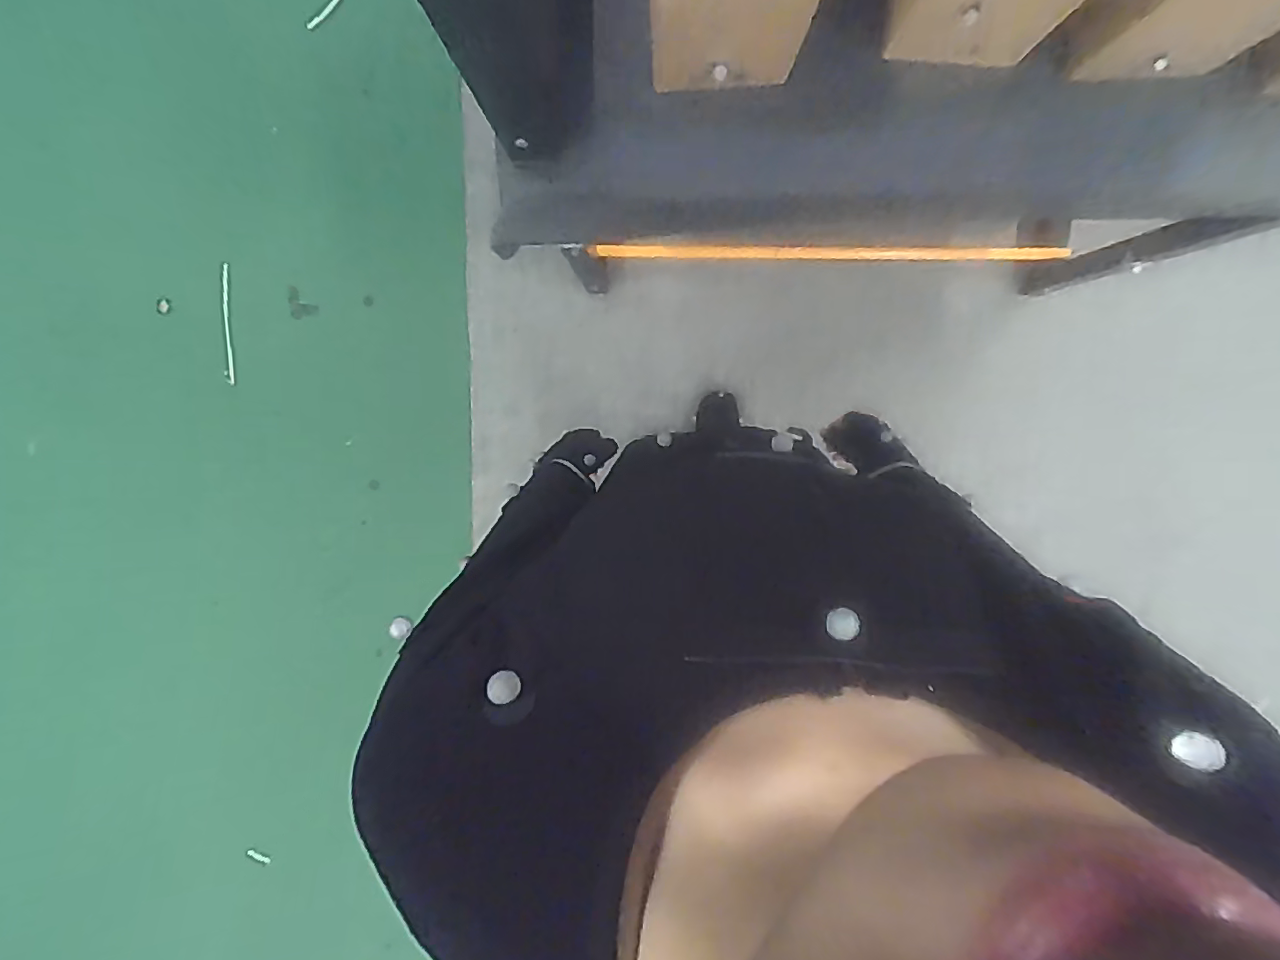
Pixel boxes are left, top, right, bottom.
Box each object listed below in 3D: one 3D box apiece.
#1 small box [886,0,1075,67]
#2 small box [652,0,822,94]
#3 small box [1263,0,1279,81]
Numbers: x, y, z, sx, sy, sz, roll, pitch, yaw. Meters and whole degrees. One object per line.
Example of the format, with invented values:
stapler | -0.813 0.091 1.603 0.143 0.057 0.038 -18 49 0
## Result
small box | 0.384 -0.585 0.579 0.168 0.176 0.179 4 98 1
small box | 0.096 -0.563 0.587 0.168 0.176 0.179 -3 99 2
small box | 0.831 -0.546 0.566 0.168 0.176 0.179 -1 97 2
